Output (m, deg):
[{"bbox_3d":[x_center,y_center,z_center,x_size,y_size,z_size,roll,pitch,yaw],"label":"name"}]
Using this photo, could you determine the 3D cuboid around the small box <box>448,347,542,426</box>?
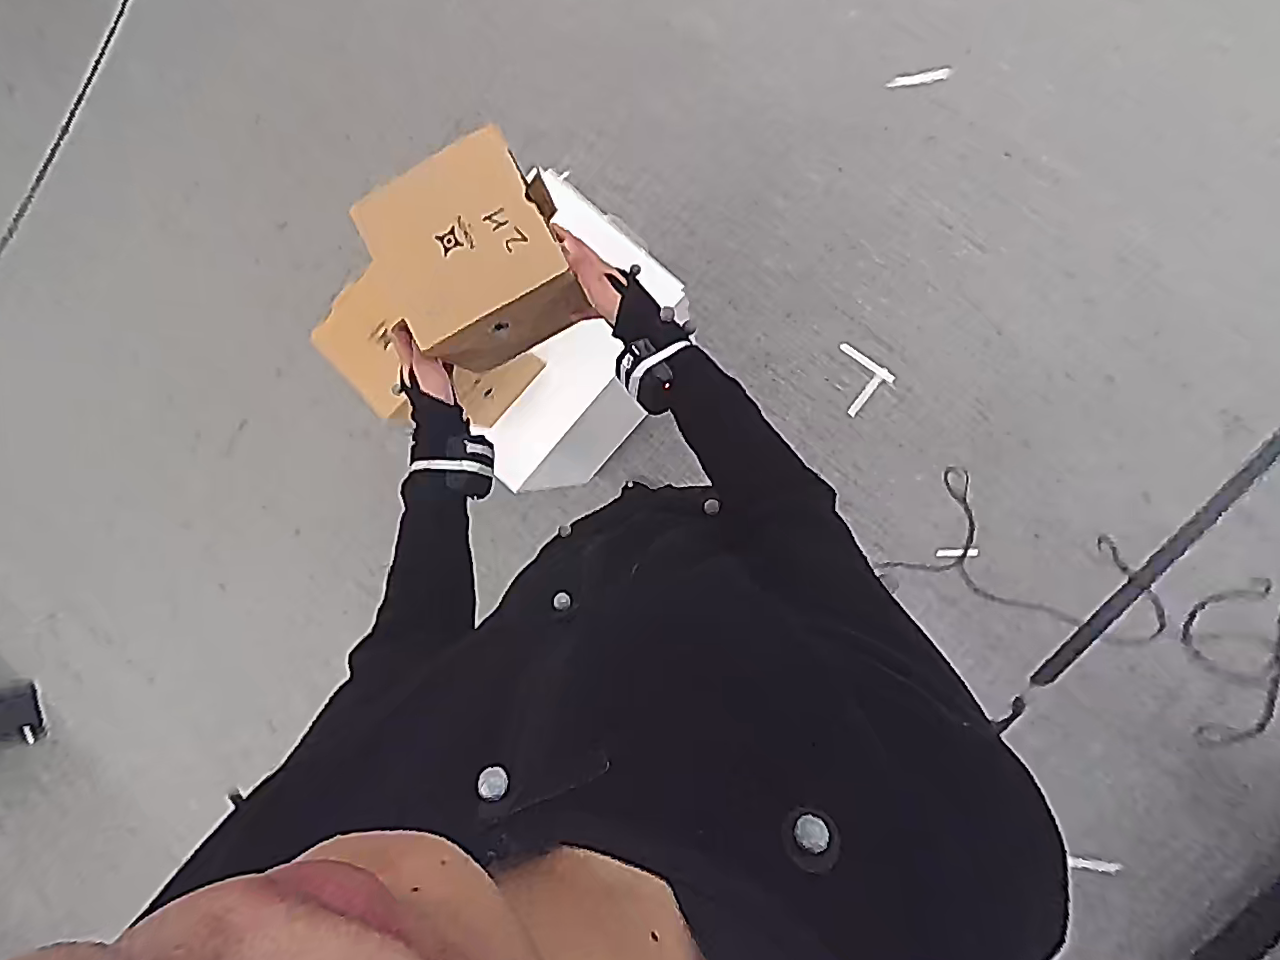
[{"bbox_3d":[-0.311,-0.217,1.001,0.168,0.176,0.179,43,96,6],"label":"small box"}]

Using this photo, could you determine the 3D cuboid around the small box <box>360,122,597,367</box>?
[{"bbox_3d":[-0.168,-0.247,0.619,0.179,0.176,0.168,-26,91,5],"label":"small box"}]

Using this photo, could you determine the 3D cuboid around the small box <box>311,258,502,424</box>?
[{"bbox_3d":[-0.348,-0.201,0.842,0.179,0.176,0.168,45,97,6],"label":"small box"}]
